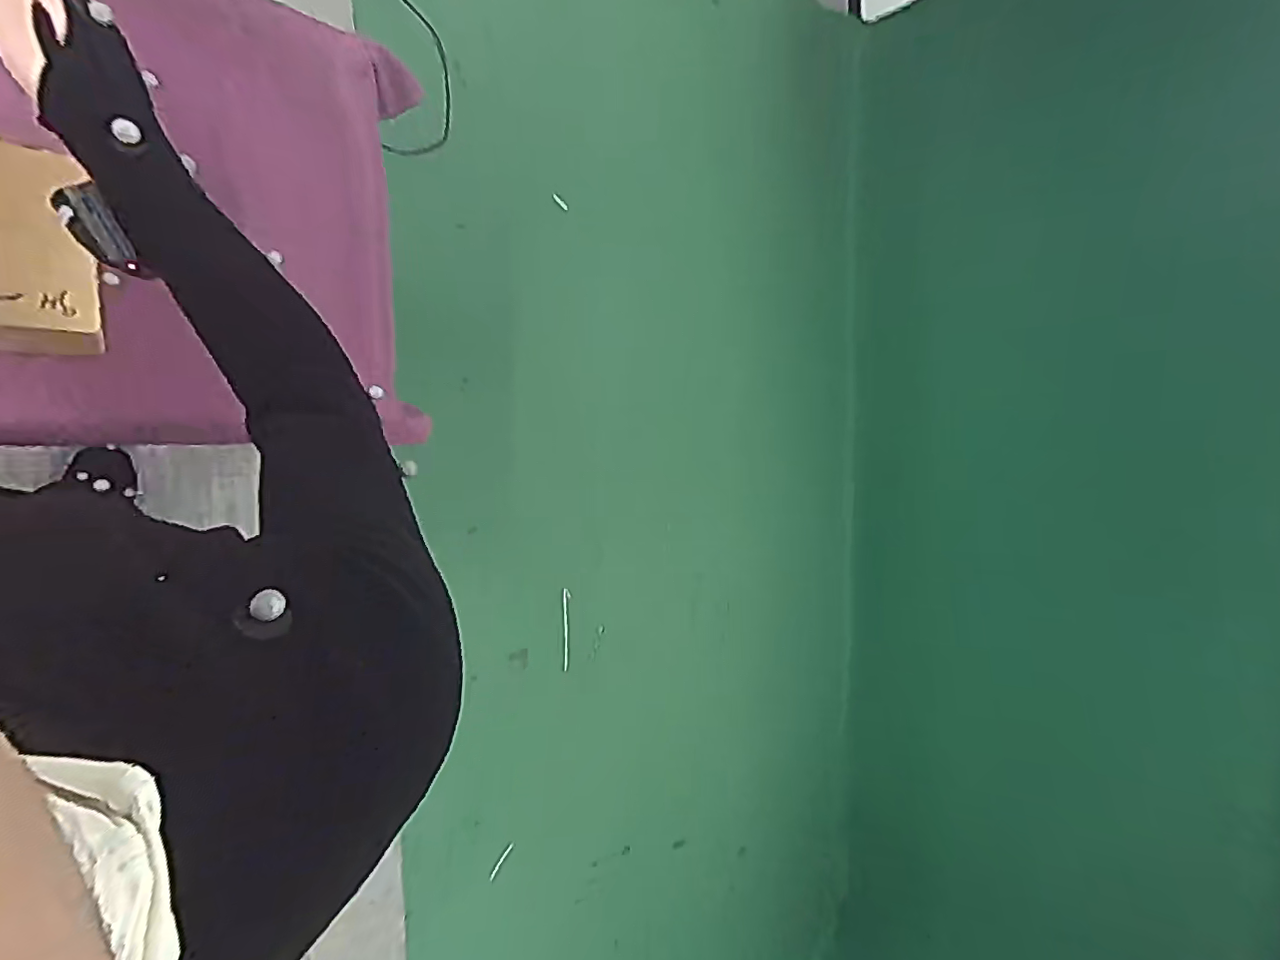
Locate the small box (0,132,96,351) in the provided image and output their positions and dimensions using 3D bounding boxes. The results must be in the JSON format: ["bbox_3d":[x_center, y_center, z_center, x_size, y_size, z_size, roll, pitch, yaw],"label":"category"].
[{"bbox_3d":[-0.674,-0.239,0.547,0.168,0.176,0.179,-4,94,-43],"label":"small box"}]
